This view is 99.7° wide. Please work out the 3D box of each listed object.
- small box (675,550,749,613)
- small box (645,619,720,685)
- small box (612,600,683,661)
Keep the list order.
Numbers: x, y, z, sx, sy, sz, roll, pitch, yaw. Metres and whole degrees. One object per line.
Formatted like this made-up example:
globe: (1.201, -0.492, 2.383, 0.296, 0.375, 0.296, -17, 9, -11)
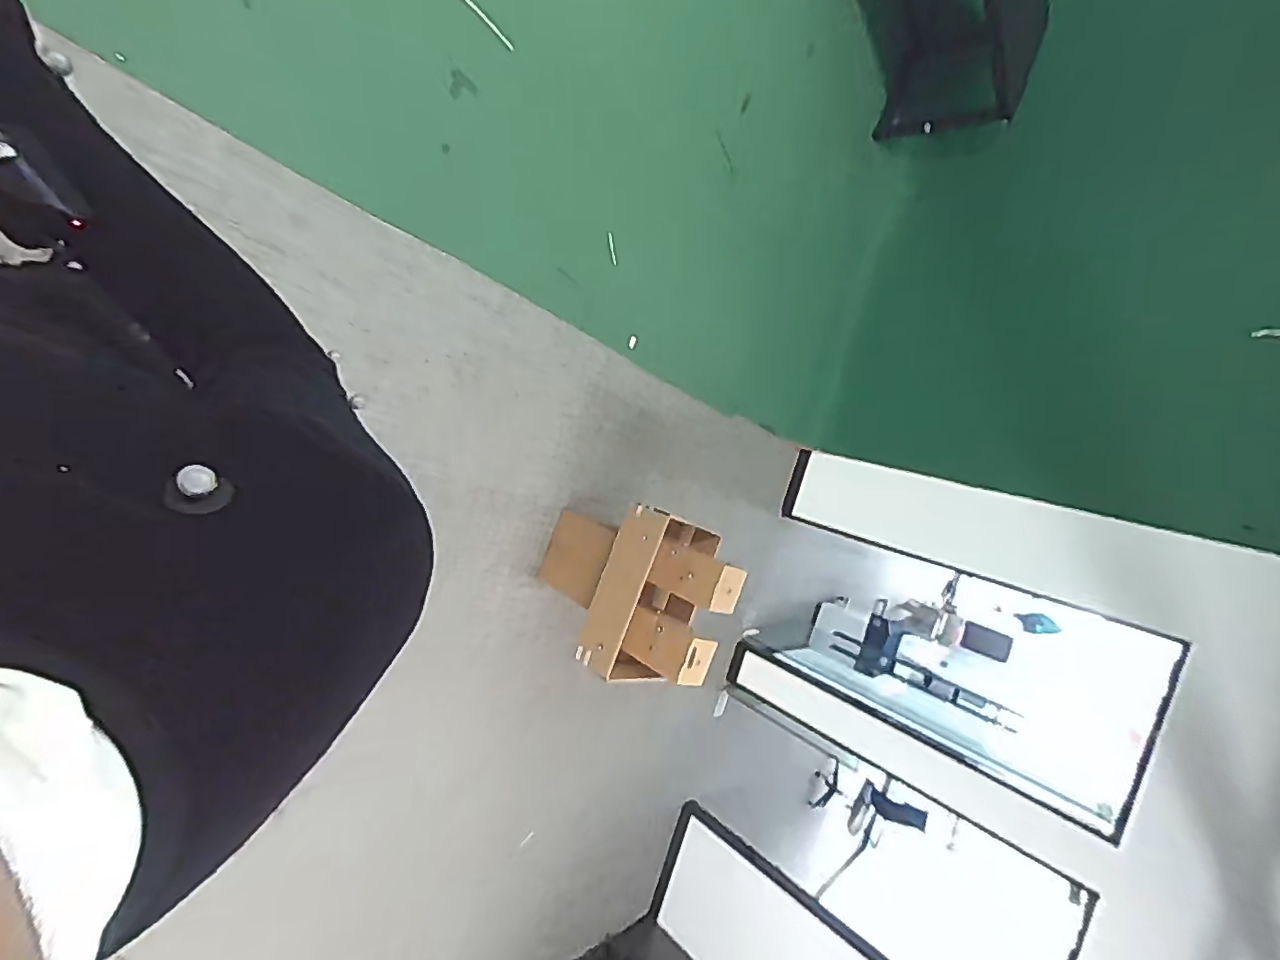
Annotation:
small box: (0.257, 0.361, 1.928, 0.179, 0.176, 0.168, 24, 86, -49)
small box: (0.147, 0.603, 1.904, 0.179, 0.176, 0.168, 27, 84, -49)
small box: (0.030, 0.561, 2.011, 0.179, 0.176, 0.168, 25, 85, -48)
